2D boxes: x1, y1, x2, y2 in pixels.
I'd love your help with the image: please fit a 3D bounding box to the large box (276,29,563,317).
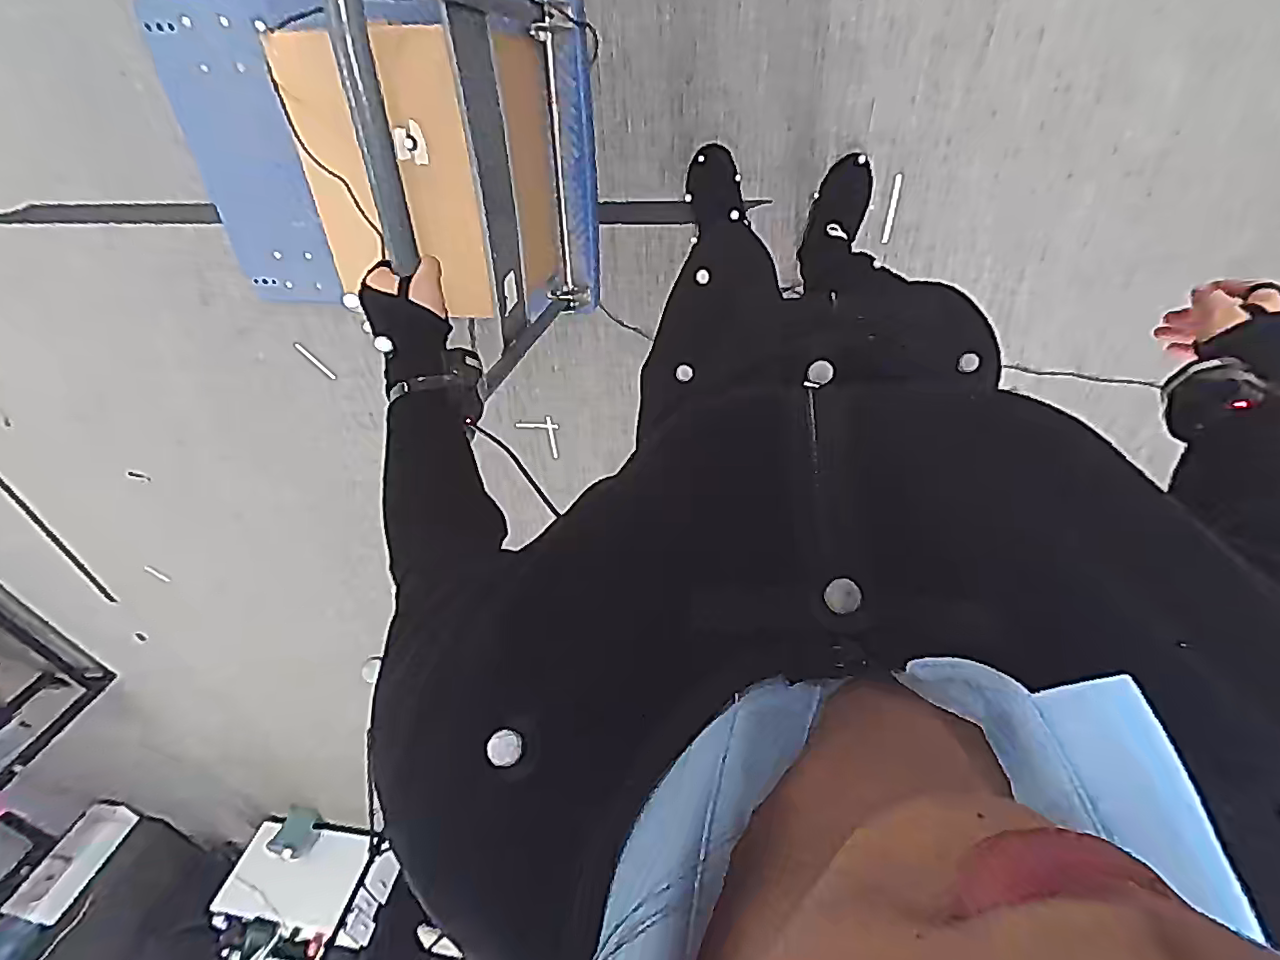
[{"bbox_3d":[-0.348,-0.546,0.992,0.320,0.320,0.408,5,126,8],"label":"large box"}]
